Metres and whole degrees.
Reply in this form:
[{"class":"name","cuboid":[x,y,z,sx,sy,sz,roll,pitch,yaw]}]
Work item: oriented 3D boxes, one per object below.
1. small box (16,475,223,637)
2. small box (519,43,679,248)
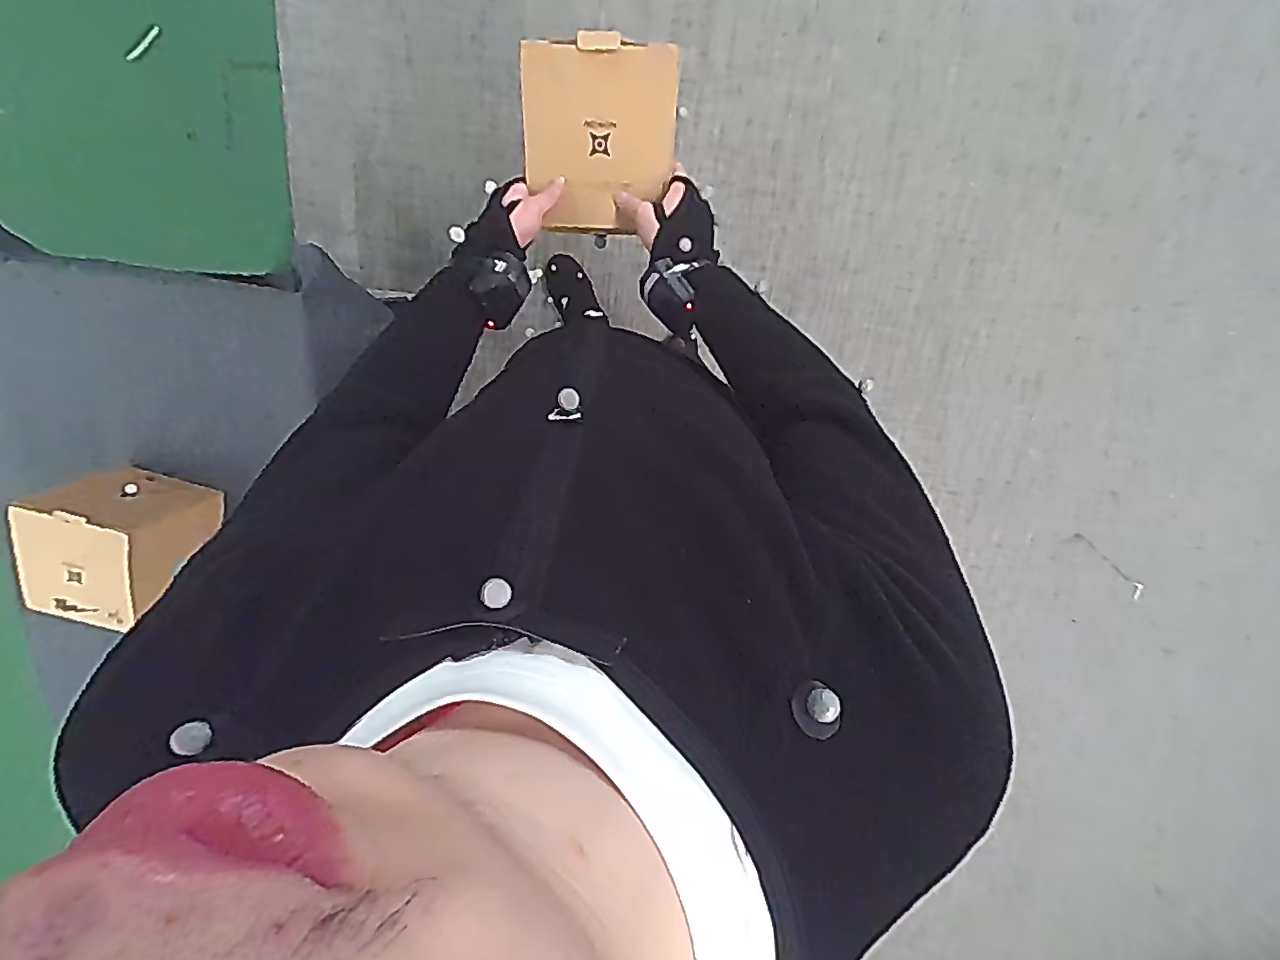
[{"class":"small box","cuboid":[-0.793,0.109,0.844,0.168,0.176,0.179,15,108,-2]},{"class":"small box","cuboid":[-0.045,-0.382,0.649,0.168,0.176,0.179,4,111,1]}]
